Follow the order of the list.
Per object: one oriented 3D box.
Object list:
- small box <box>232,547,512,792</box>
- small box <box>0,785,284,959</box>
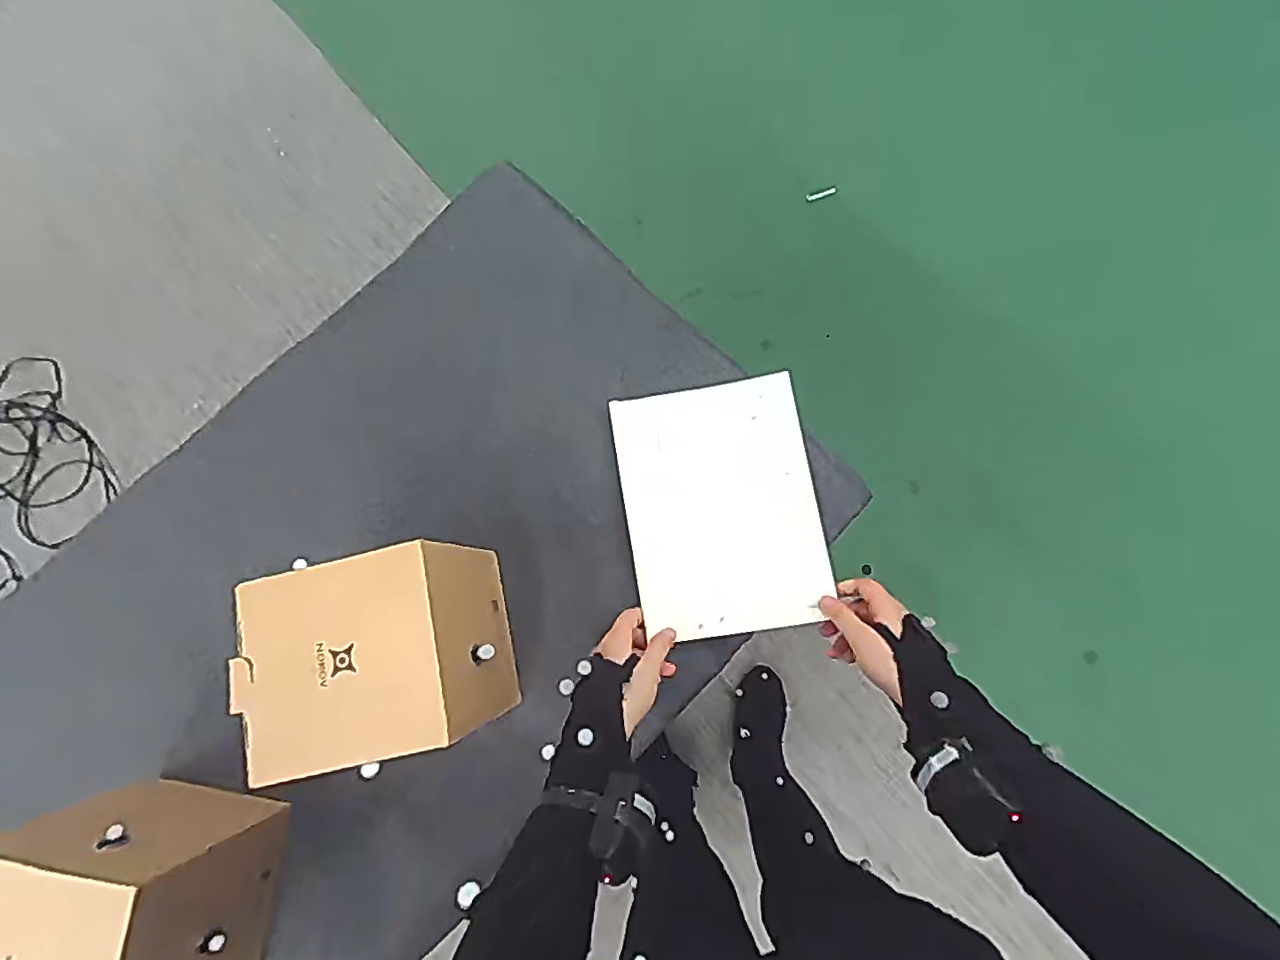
[{"bbox_3d":[-0.236,0.164,0.516,0.179,0.176,0.168,-15,78,5],"label":"small box"},{"bbox_3d":[-0.478,0.409,0.502,0.179,0.176,0.168,5,80,8],"label":"small box"}]
